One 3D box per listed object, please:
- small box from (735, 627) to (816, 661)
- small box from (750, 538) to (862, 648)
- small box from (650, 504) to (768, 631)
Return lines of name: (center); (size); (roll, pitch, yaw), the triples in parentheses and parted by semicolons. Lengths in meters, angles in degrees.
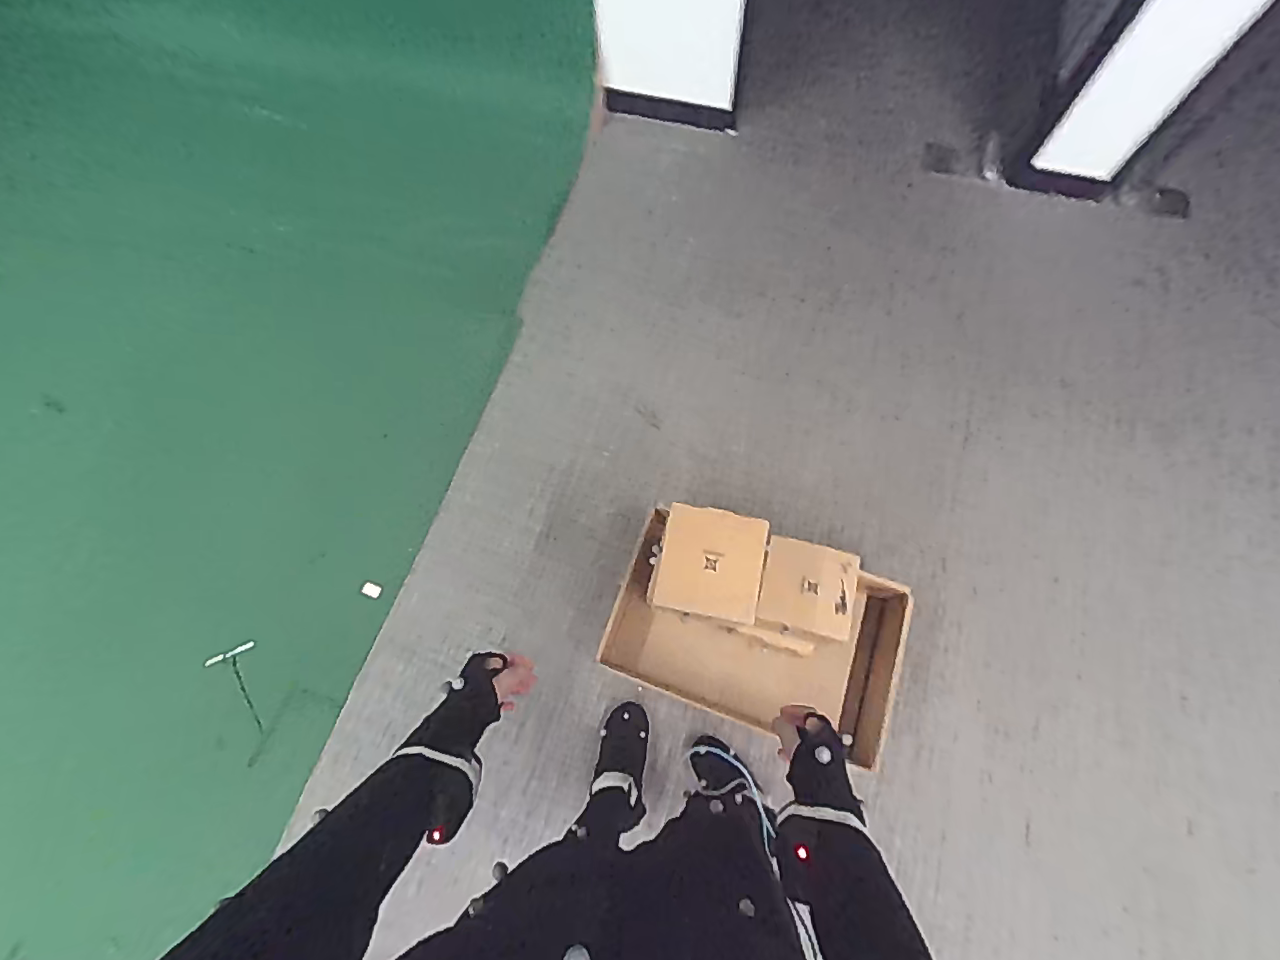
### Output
small box: (0.320, 0.301, 1.234); (0.168, 0.176, 0.179); (18, 74, 12)
small box: (0.321, 0.233, 1.084); (0.179, 0.176, 0.168); (14, 72, 10)
small box: (0.118, 0.161, 0.949); (0.168, 0.176, 0.179); (11, 72, 6)
